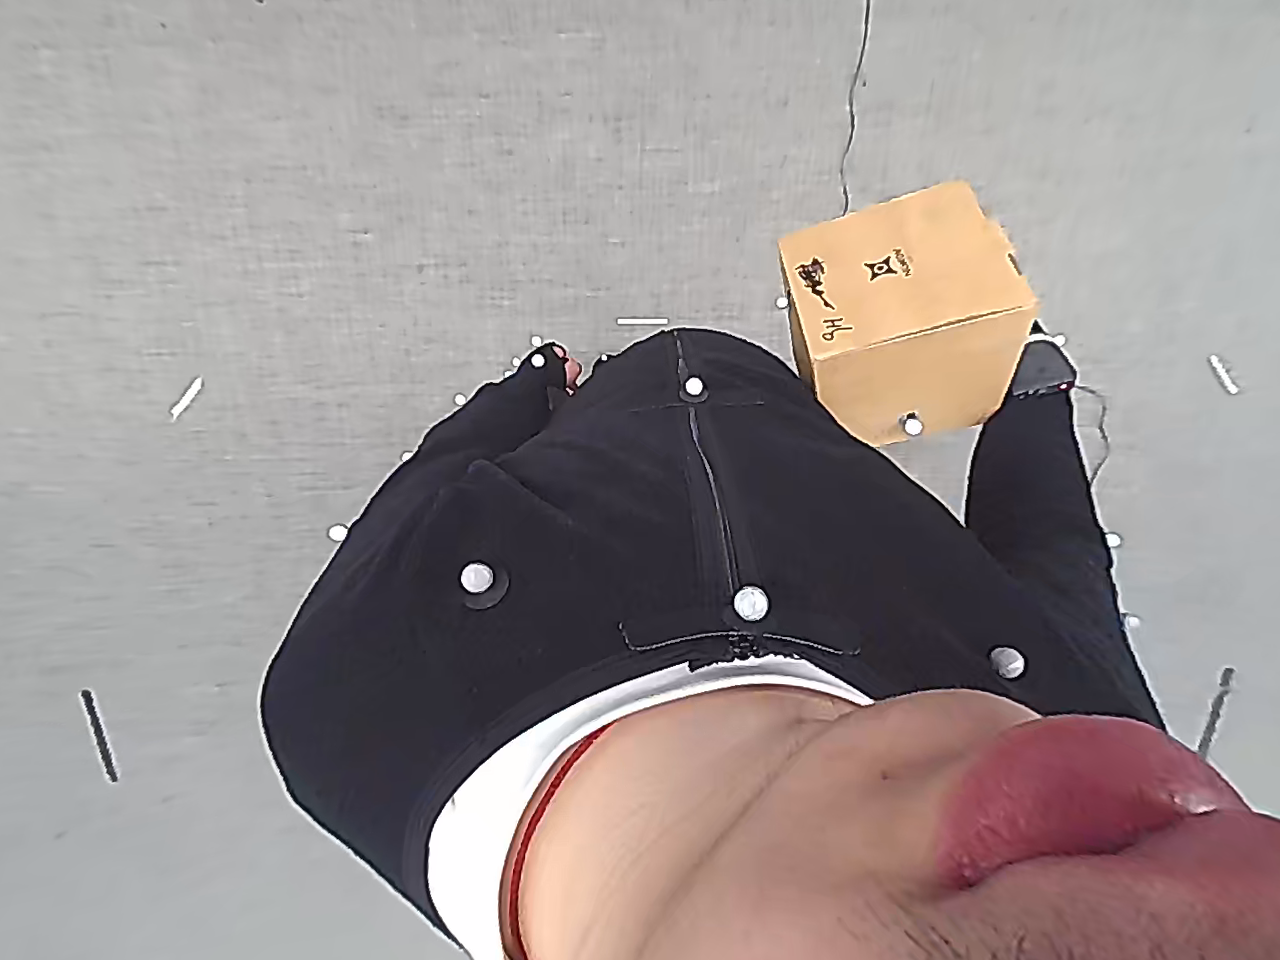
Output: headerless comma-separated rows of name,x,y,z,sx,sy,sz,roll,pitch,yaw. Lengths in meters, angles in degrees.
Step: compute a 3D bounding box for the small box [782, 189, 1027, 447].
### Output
small box,0.257,-0.157,0.567,0.179,0.168,0.176,-13,148,15
